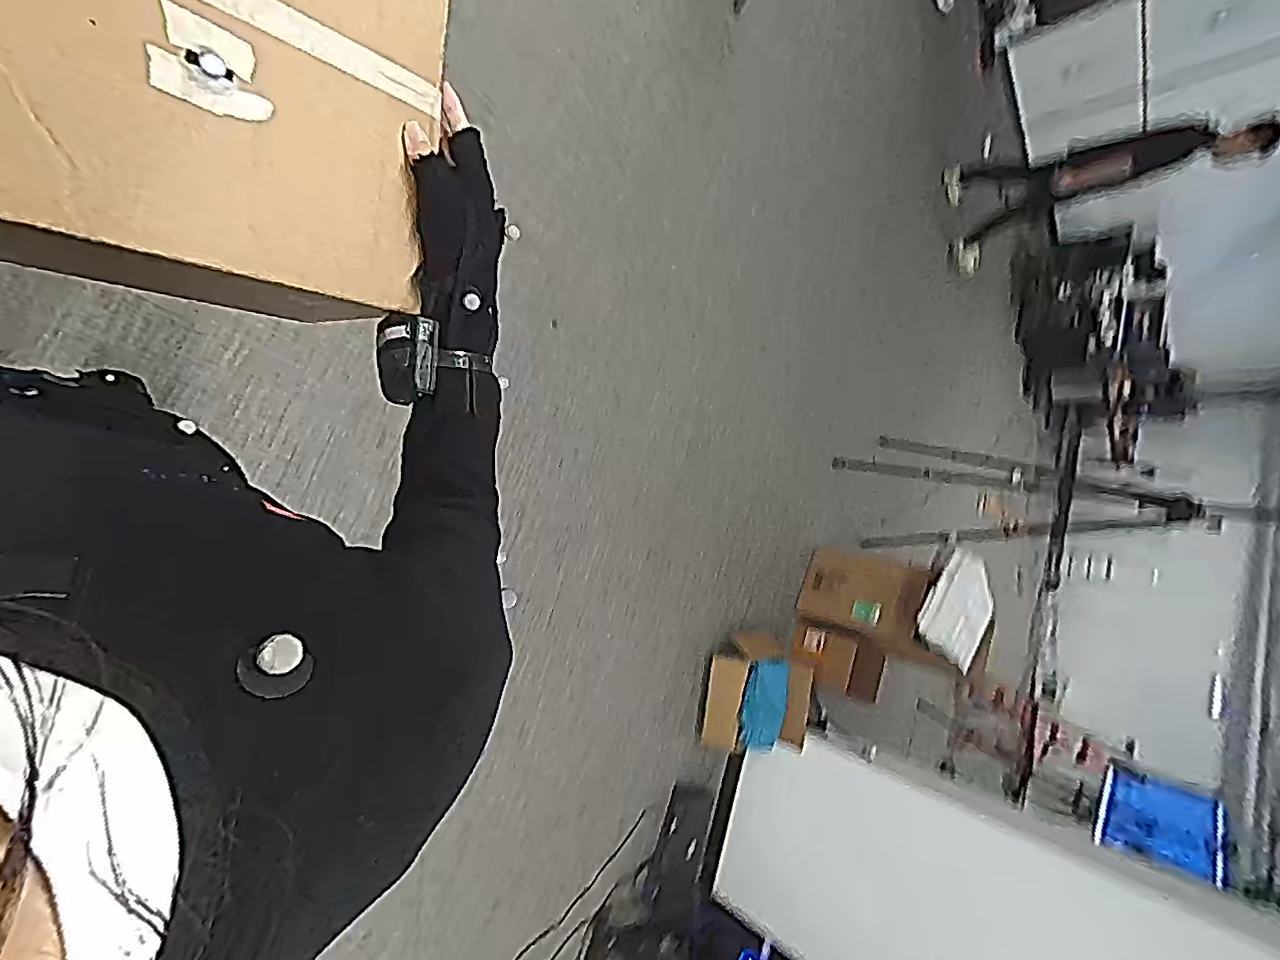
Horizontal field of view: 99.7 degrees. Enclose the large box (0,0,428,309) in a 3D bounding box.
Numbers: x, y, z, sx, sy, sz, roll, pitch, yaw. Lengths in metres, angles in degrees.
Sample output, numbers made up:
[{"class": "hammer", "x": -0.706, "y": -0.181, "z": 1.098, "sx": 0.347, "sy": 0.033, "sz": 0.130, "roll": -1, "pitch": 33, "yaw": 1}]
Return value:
[{"class": "large box", "x": -0.415, "y": -0.320, "z": 0.379, "sx": 0.408, "sy": 0.320, "sz": 0.320, "roll": -1, "pitch": 102, "yaw": -46}]
